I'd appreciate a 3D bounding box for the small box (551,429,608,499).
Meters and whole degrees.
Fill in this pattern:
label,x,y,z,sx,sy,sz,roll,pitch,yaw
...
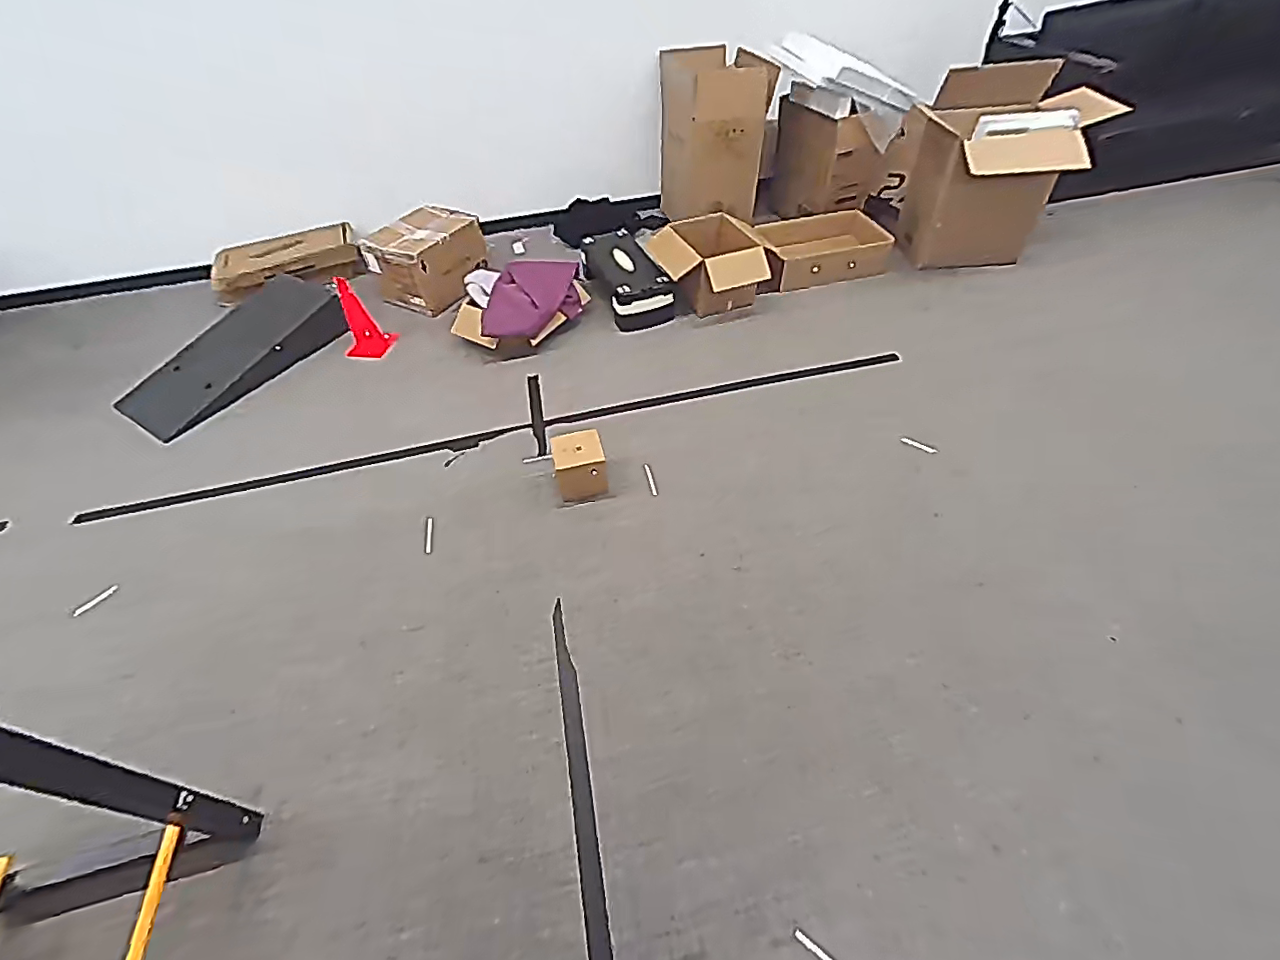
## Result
label,x,y,z,sx,sy,sz,roll,pitch,yaw
small box,-0.213,-0.055,1.948,0.179,0.176,0.168,-12,49,-7
